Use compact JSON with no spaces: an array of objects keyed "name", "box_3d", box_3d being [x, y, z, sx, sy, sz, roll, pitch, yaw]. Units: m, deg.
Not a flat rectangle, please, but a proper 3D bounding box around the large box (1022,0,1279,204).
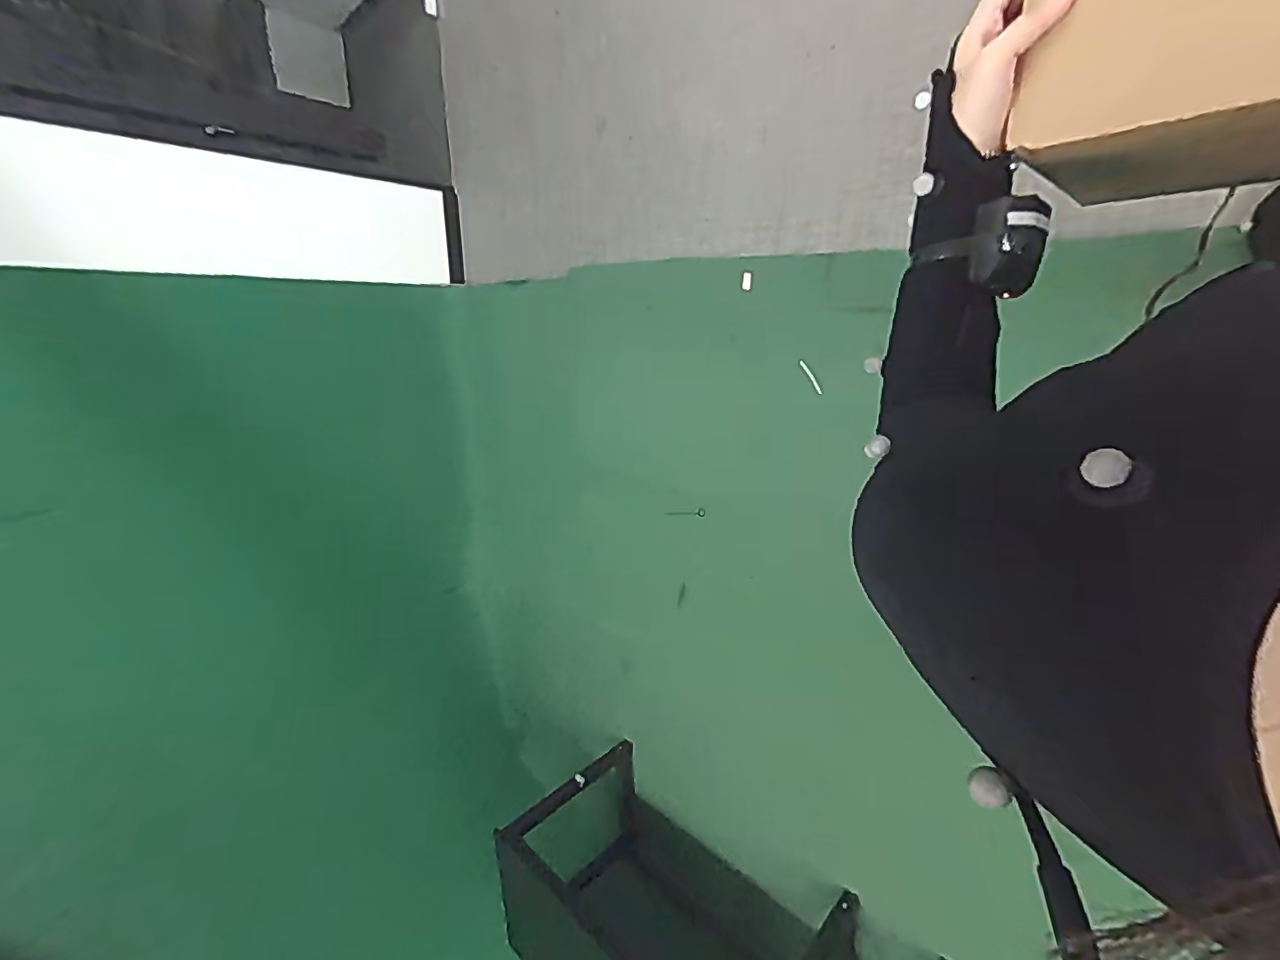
[{"name":"large box","box_3d":[0.520,-0.395,0.331,0.408,0.320,0.320,13,111,43]}]
